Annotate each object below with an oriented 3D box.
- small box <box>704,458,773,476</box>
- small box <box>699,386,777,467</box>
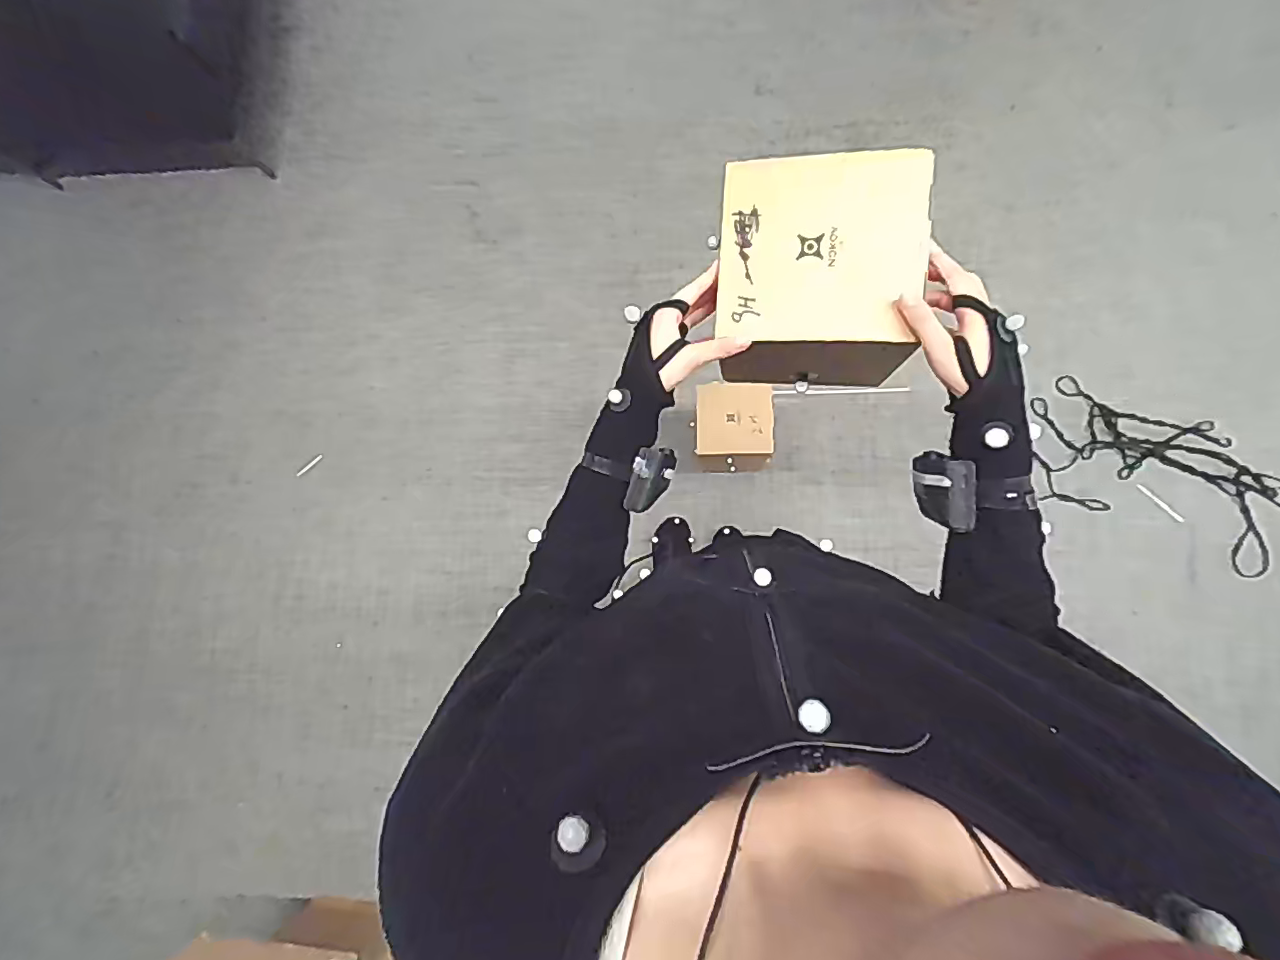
[{"bbox_3d":[0.261,-0.101,1.459,0.179,0.176,0.168,0,83,6],"label":"small box"},{"bbox_3d":[0.231,-0.121,1.298,0.179,0.176,0.168,0,84,7],"label":"small box"}]
